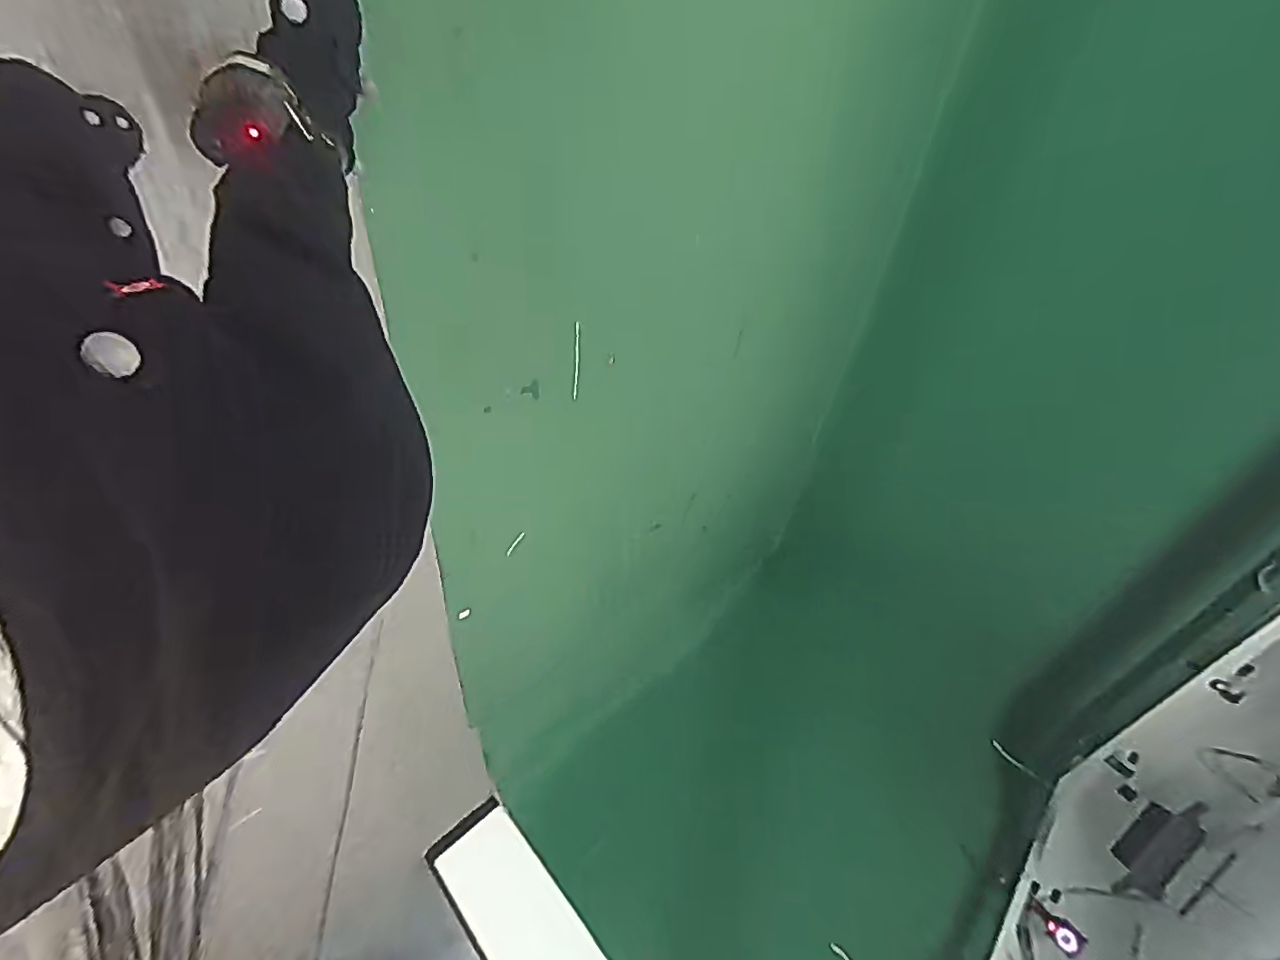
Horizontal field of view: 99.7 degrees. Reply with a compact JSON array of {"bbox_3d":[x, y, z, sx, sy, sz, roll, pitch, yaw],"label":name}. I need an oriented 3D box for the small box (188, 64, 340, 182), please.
[{"bbox_3d":[-0.706,-0.672,1.023,0.179,0.176,0.168,-25,137,-38],"label":"small box"}]
